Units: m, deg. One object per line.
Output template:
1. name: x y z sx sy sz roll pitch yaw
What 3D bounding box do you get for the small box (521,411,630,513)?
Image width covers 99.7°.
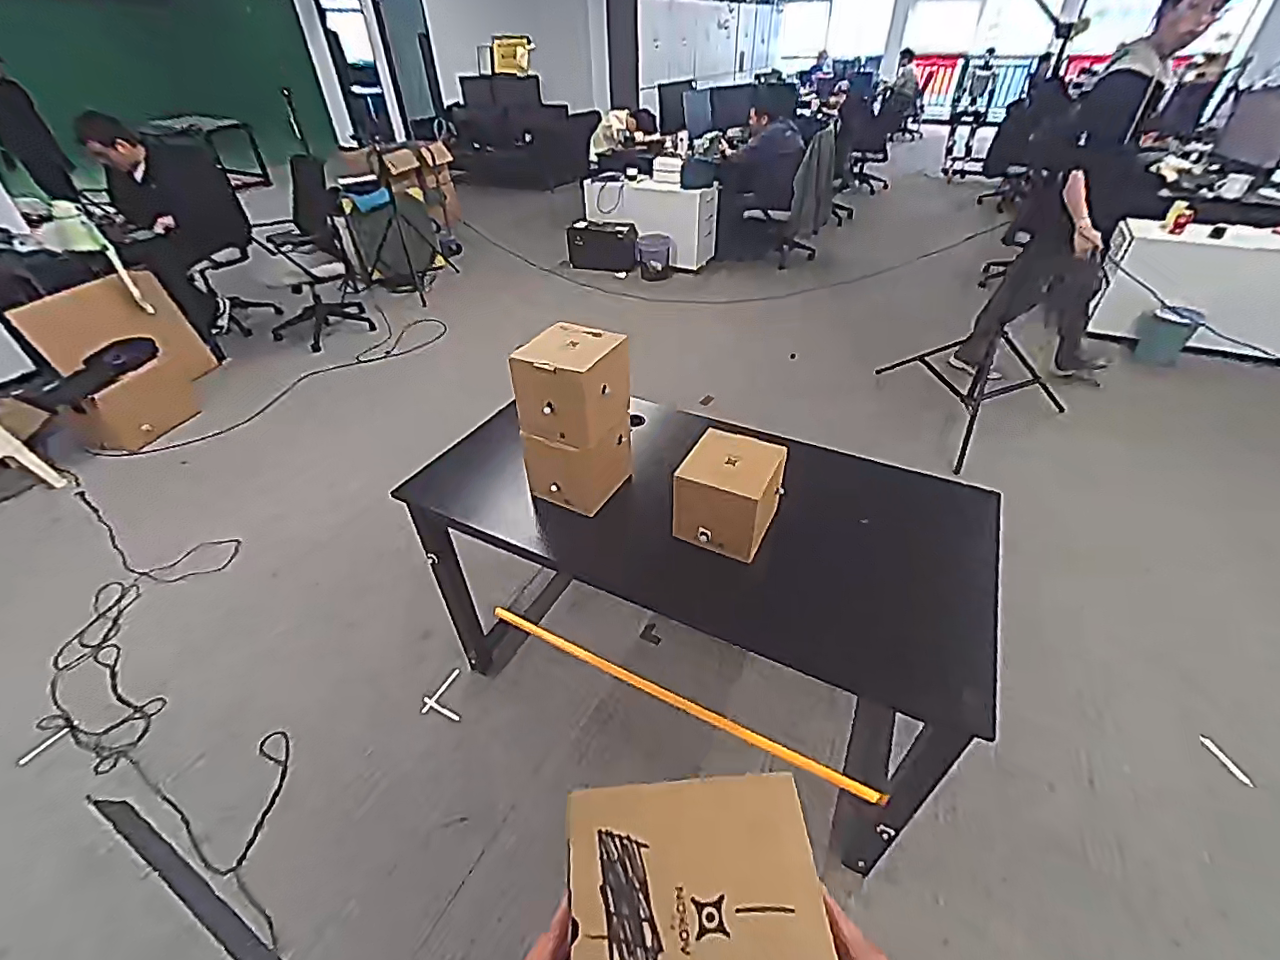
1. small box: -0.134 -0.059 1.175 0.168 0.176 0.179 19 44 23

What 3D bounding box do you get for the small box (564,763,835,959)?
1. small box: 0.035 0.340 0.425 0.179 0.176 0.168 -2 48 -4

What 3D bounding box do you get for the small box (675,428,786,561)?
1. small box: 0.175 0.026 1.070 0.168 0.176 0.179 16 43 22

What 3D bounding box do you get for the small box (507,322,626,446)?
1. small box: -0.134 -0.191 1.078 0.168 0.176 0.179 17 43 20
